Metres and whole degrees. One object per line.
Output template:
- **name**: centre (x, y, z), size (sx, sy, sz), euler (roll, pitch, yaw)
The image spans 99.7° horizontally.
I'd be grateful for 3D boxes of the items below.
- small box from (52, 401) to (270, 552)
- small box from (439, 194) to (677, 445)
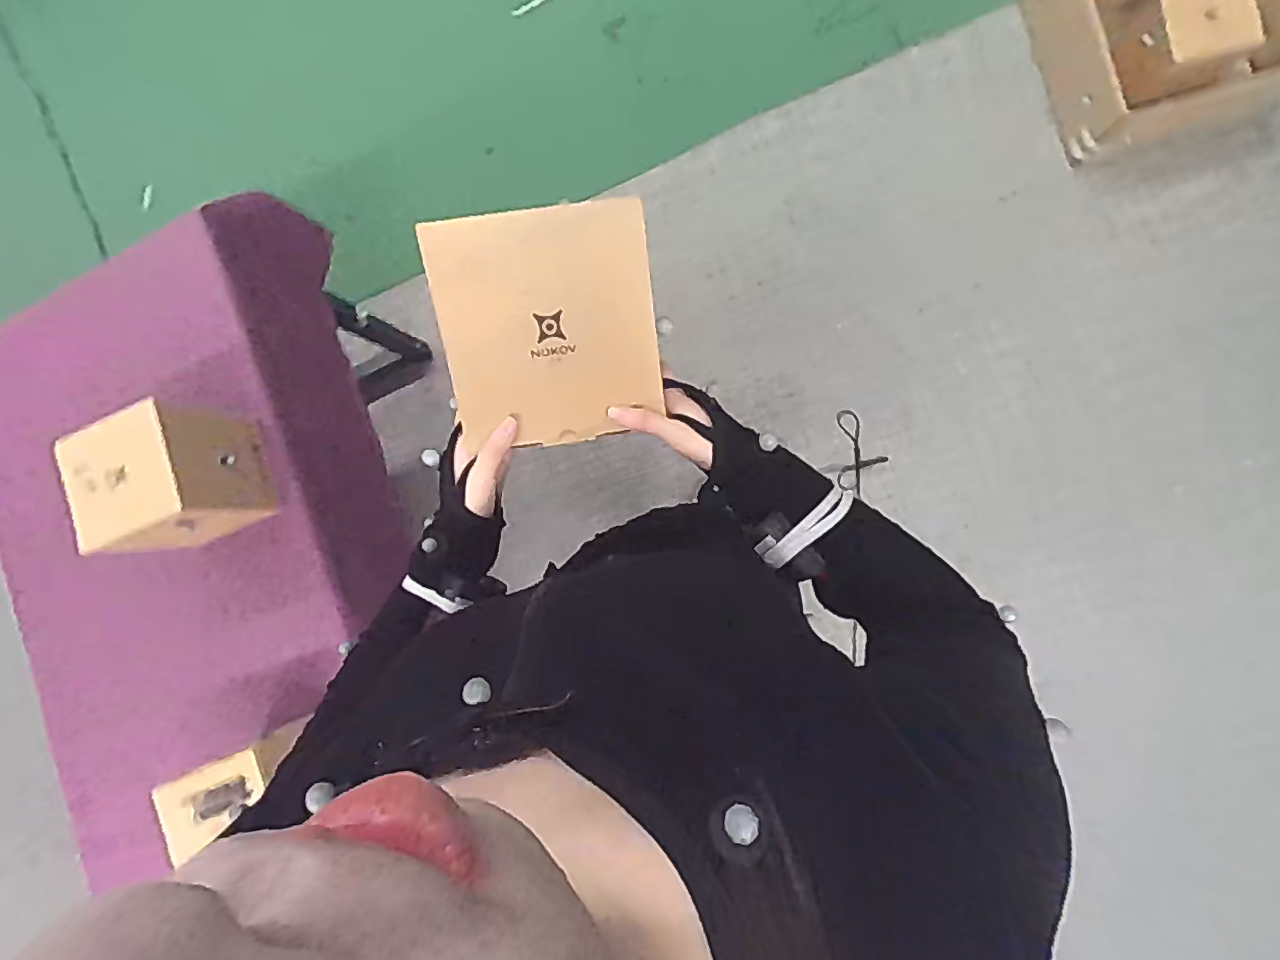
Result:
- **small box**: centre (-0.701, -0.002, 0.815), size (0.179, 0.176, 0.168), euler (-21, 84, 8)
- **small box**: centre (-0.064, -0.145, 0.492), size (0.168, 0.176, 0.179), euler (-7, 111, -2)
